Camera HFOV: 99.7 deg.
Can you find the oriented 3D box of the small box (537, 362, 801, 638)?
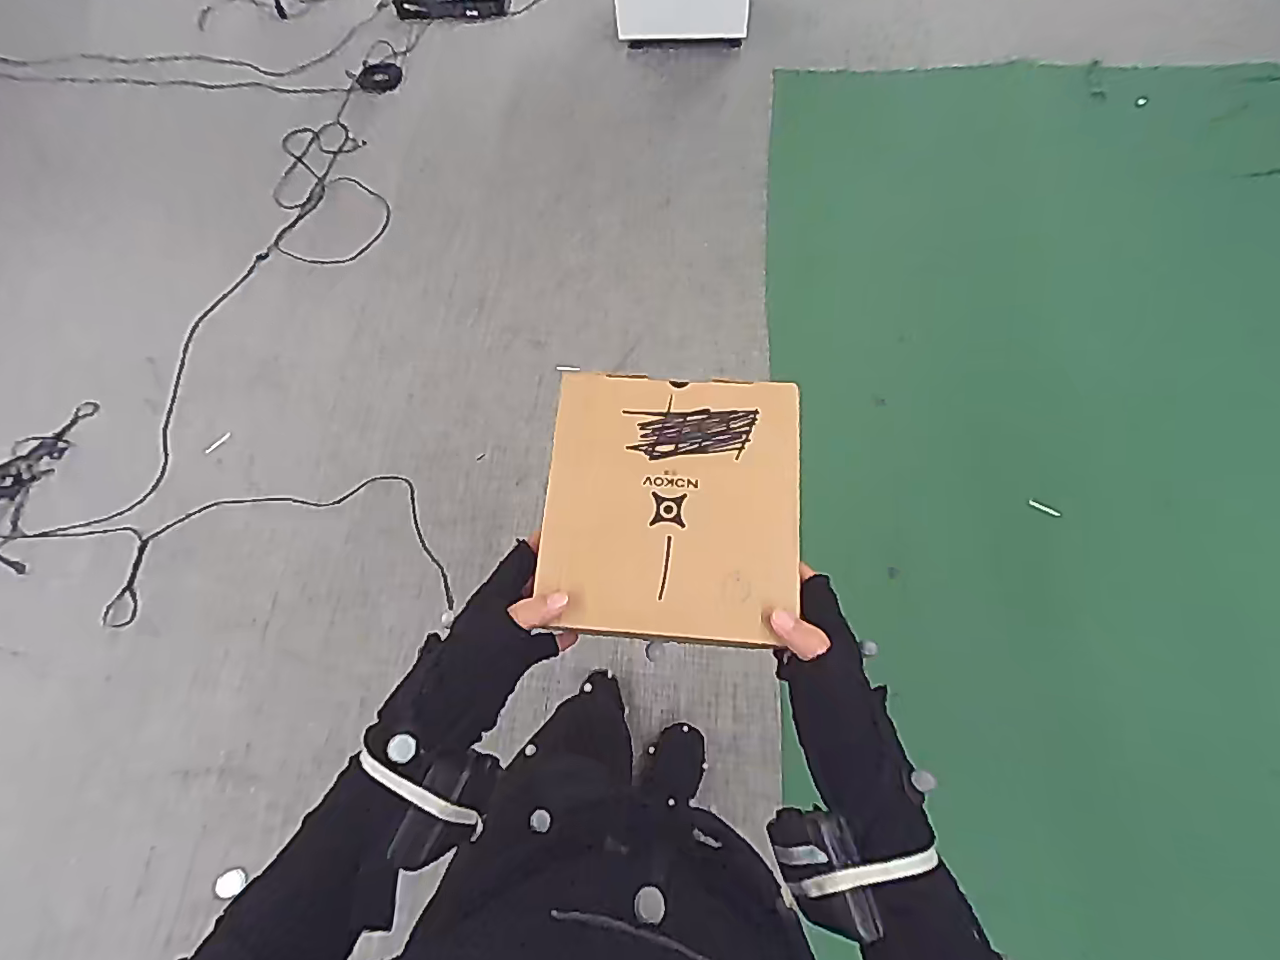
[{"bbox_3d":[0.027,0.027,0.433,0.168,0.176,0.179,3,72,5],"label":"small box"}]
